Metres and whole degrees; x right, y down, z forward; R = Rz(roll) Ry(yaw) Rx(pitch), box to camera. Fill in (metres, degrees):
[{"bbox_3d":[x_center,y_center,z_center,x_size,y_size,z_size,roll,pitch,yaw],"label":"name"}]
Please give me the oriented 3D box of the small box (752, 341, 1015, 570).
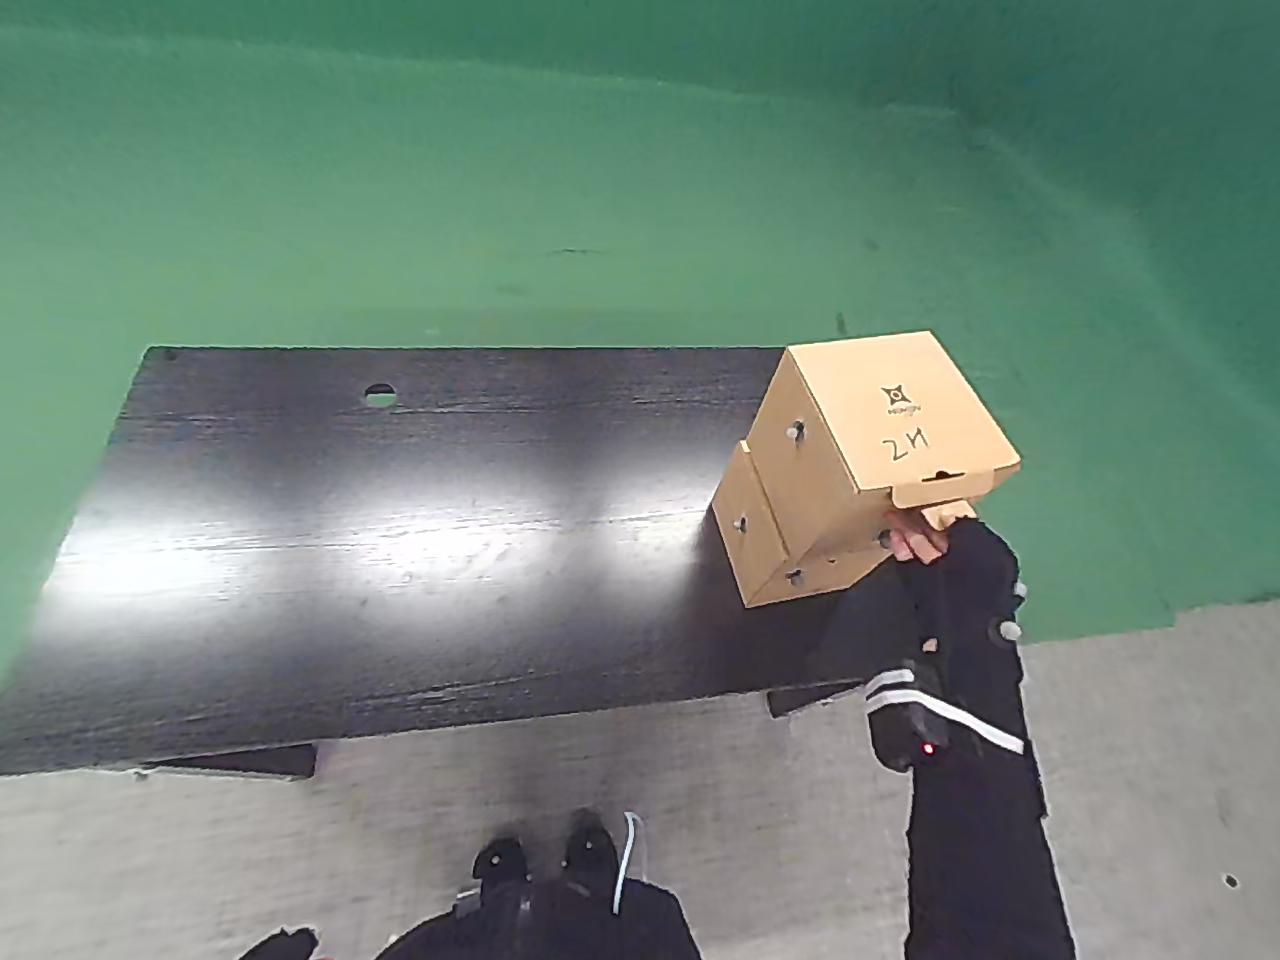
[{"bbox_3d":[0.239,-0.023,0.586,0.168,0.176,0.179,-9,60,-11],"label":"small box"}]
